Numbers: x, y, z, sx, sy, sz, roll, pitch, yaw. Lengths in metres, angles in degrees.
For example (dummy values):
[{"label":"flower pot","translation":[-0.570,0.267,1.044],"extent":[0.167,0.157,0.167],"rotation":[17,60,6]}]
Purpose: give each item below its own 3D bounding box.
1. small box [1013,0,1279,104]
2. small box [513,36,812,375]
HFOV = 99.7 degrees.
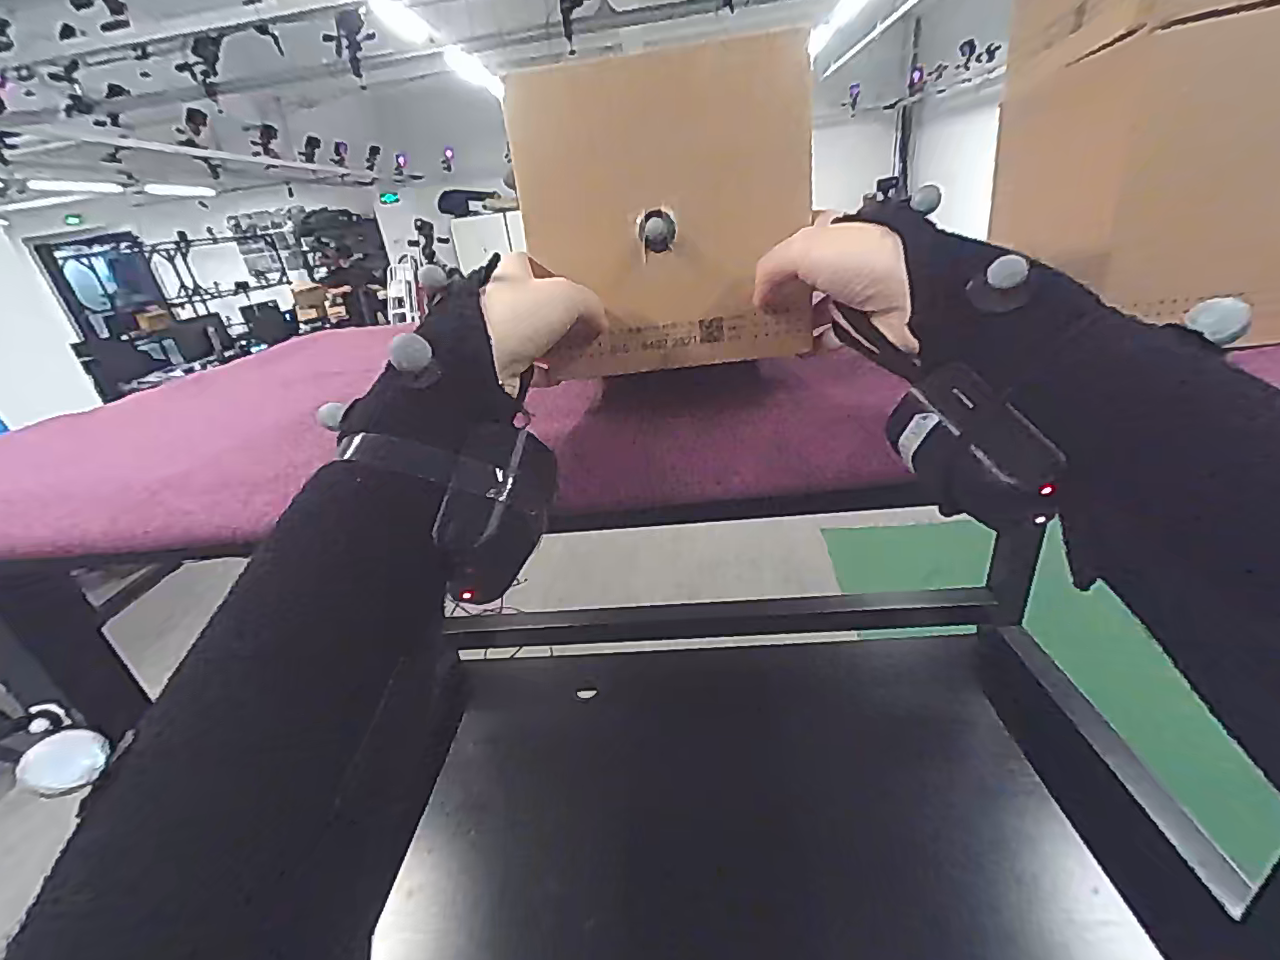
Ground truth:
[{"label":"small box","translation":[0.336,-0.326,0.301],"extent":[0.179,0.176,0.168],"rotation":[-2,23,14]},{"label":"small box","translation":[0.024,-0.173,0.390],"extent":[0.168,0.176,0.179],"rotation":[-4,20,4]}]
